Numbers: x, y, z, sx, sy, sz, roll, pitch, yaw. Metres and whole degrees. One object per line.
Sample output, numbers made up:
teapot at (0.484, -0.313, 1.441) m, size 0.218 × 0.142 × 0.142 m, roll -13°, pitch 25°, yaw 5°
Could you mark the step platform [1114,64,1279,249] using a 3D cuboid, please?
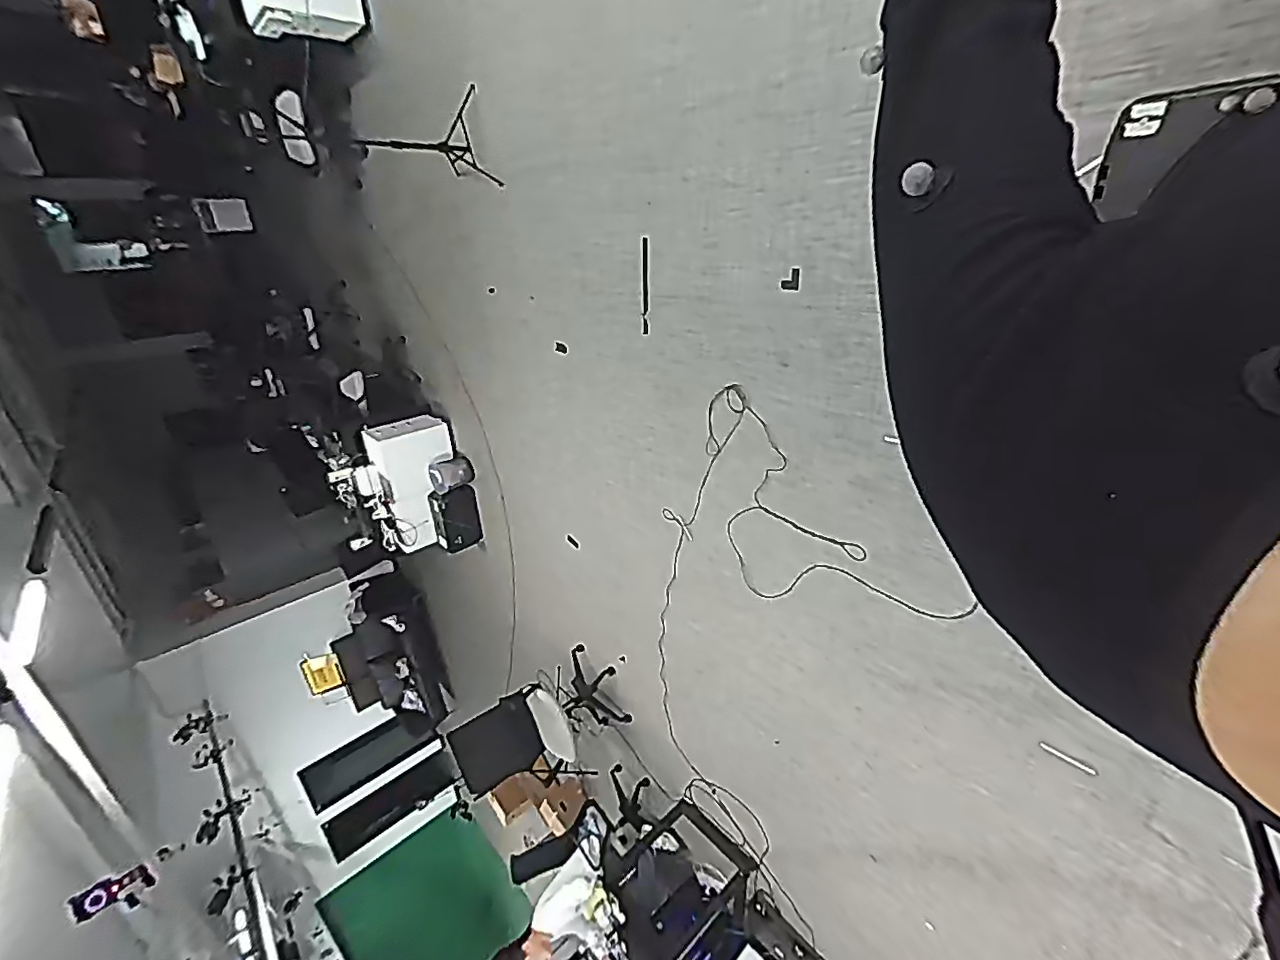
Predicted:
step platform at (1.222, -0.540, 0.872) m, size 0.684 × 0.204 × 0.286 m, roll 20°, pitch 124°, yaw 43°
